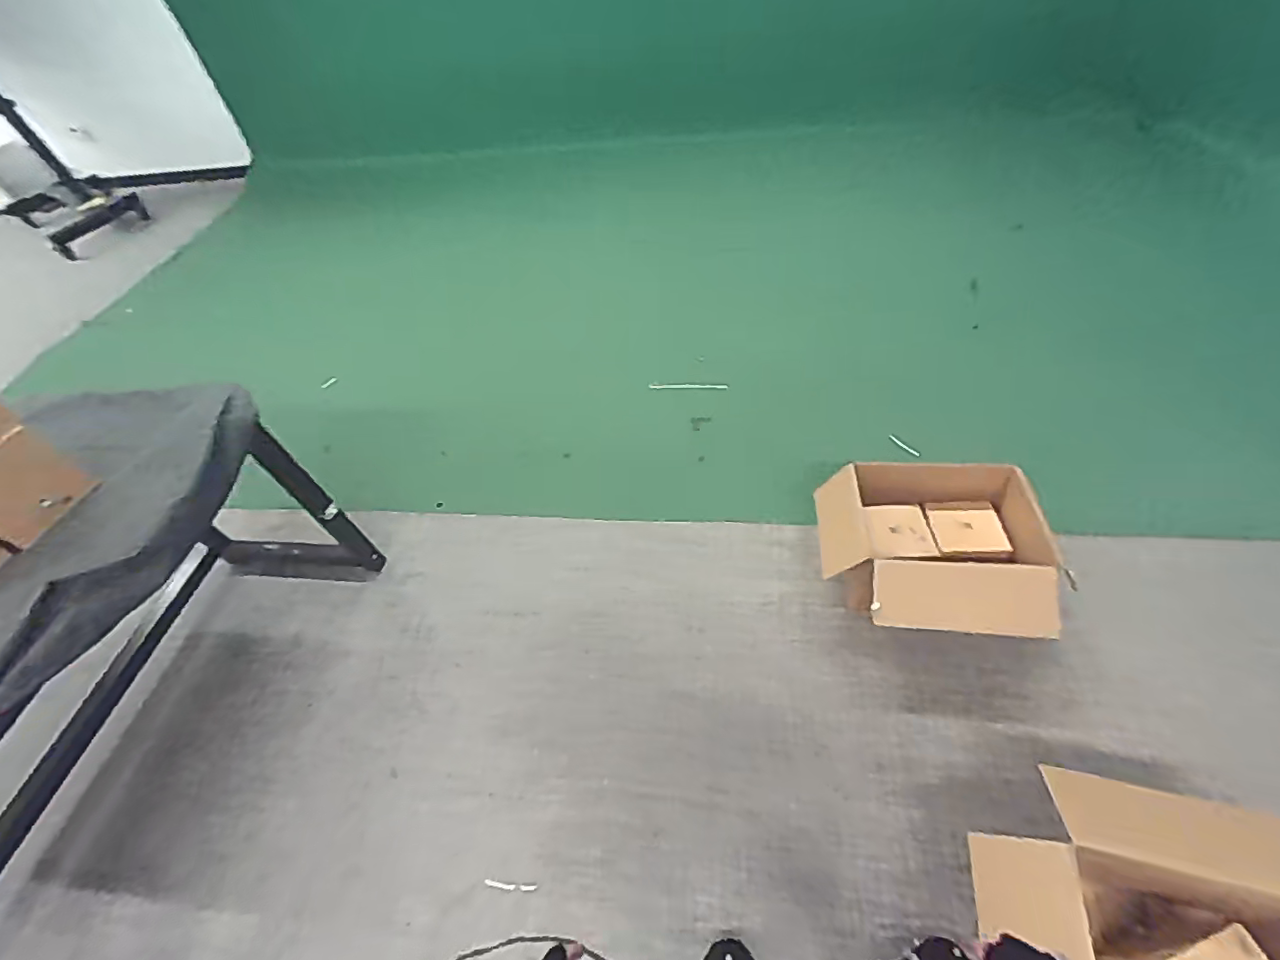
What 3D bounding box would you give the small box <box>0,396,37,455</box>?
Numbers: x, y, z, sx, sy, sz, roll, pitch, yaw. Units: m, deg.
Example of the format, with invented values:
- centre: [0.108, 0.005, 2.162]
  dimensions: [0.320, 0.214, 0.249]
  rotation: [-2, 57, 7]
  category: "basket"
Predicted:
- centre: [-1.214, -0.101, 0.909]
  dimensions: [0.168, 0.176, 0.179]
  rotation: [10, 53, 15]
  category: "small box"
